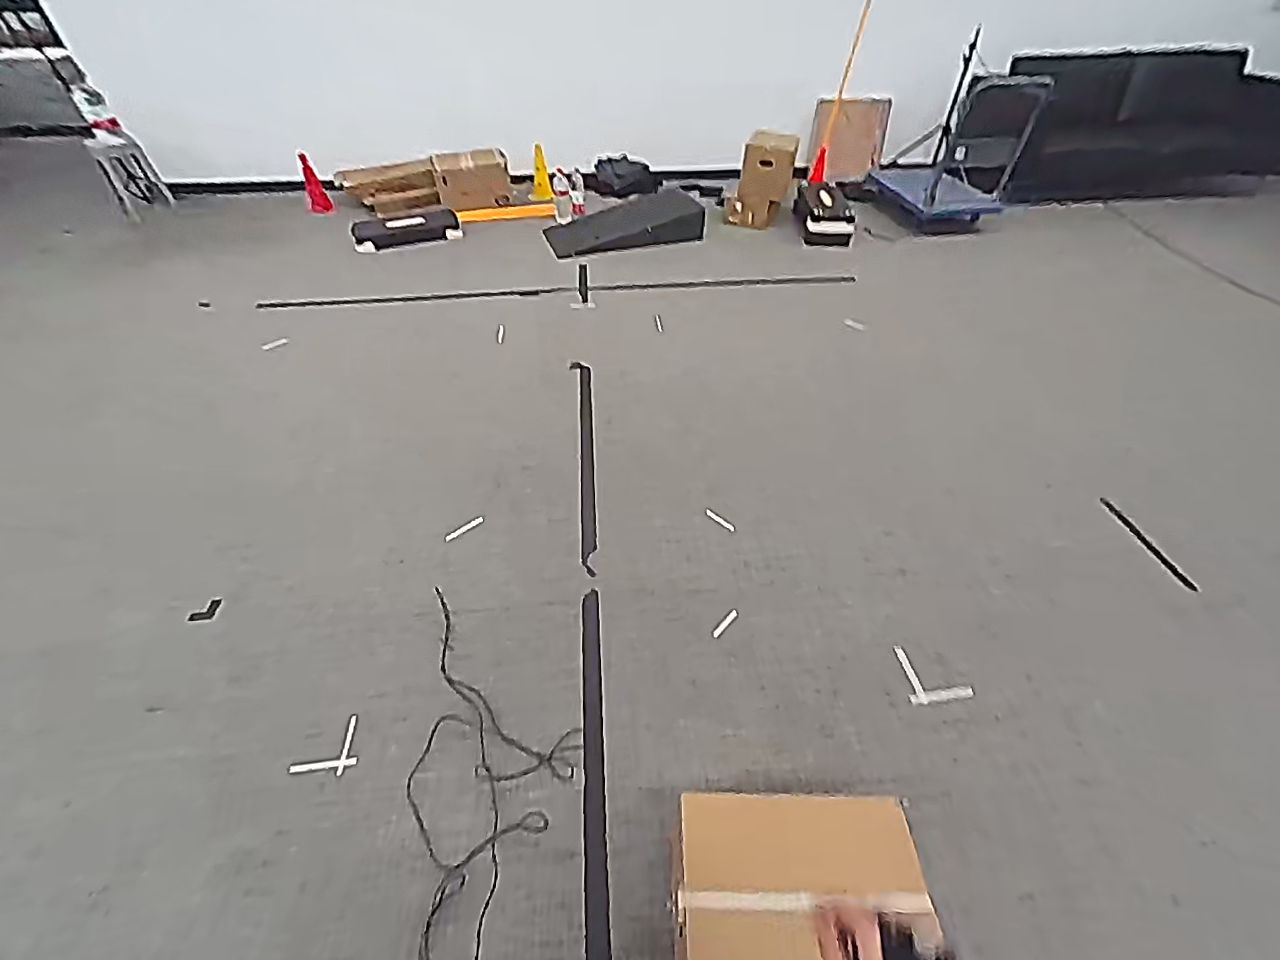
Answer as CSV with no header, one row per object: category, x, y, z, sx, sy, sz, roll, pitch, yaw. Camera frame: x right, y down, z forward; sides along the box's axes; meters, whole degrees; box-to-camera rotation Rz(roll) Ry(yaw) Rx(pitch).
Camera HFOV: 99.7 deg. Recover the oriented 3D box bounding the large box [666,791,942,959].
large box,0.262,0.787,0.985,0.408,0.320,0.320,2,45,-1
